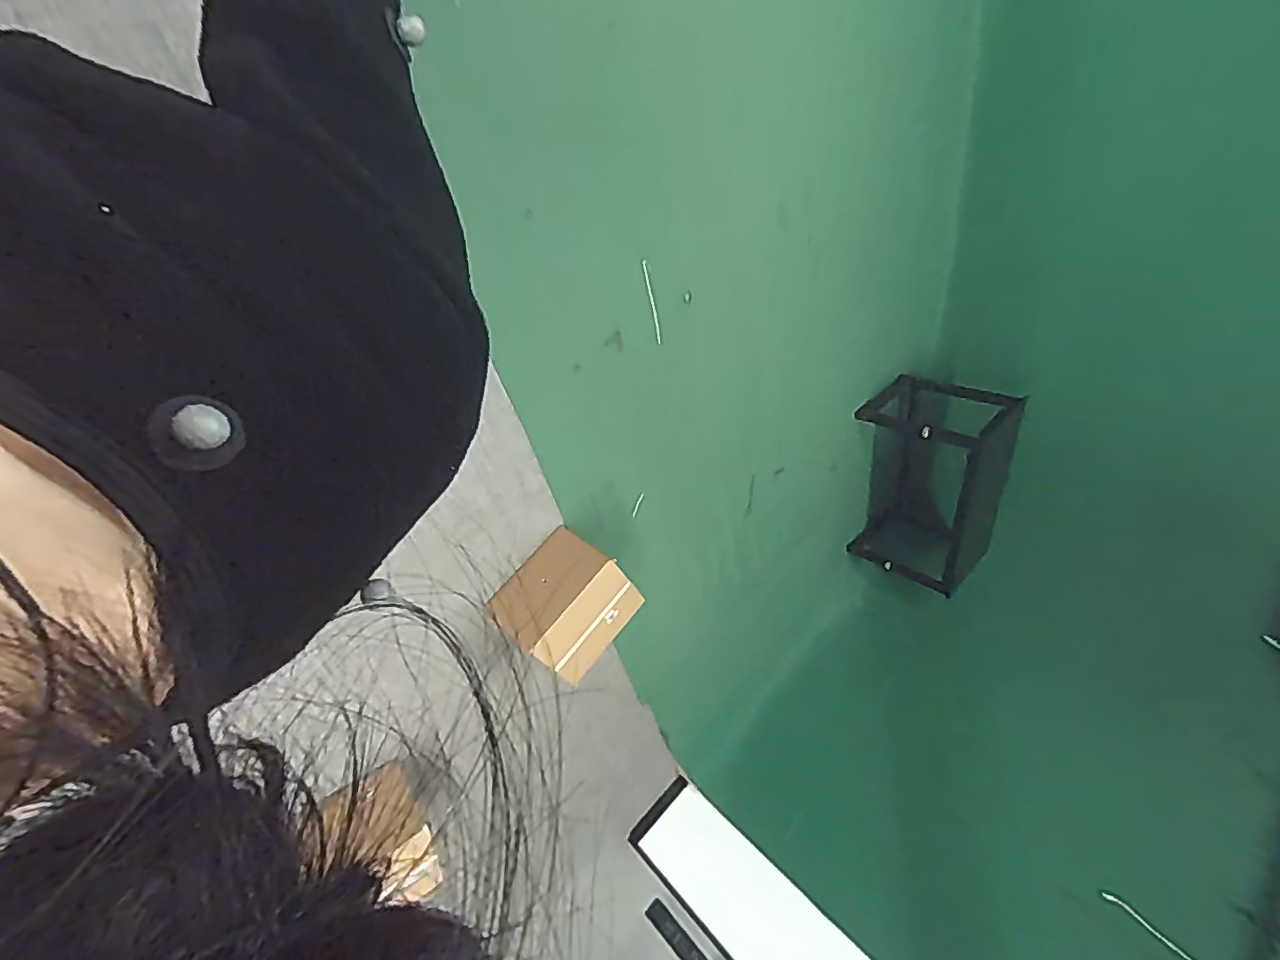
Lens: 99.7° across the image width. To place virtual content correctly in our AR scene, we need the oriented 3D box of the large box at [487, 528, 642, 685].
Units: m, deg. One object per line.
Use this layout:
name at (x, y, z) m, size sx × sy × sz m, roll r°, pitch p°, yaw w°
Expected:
large box at (-0.275, 0.456, 1.988) m, size 0.408 × 0.320 × 0.320 m, roll -49°, pitch 136°, yaw -17°
